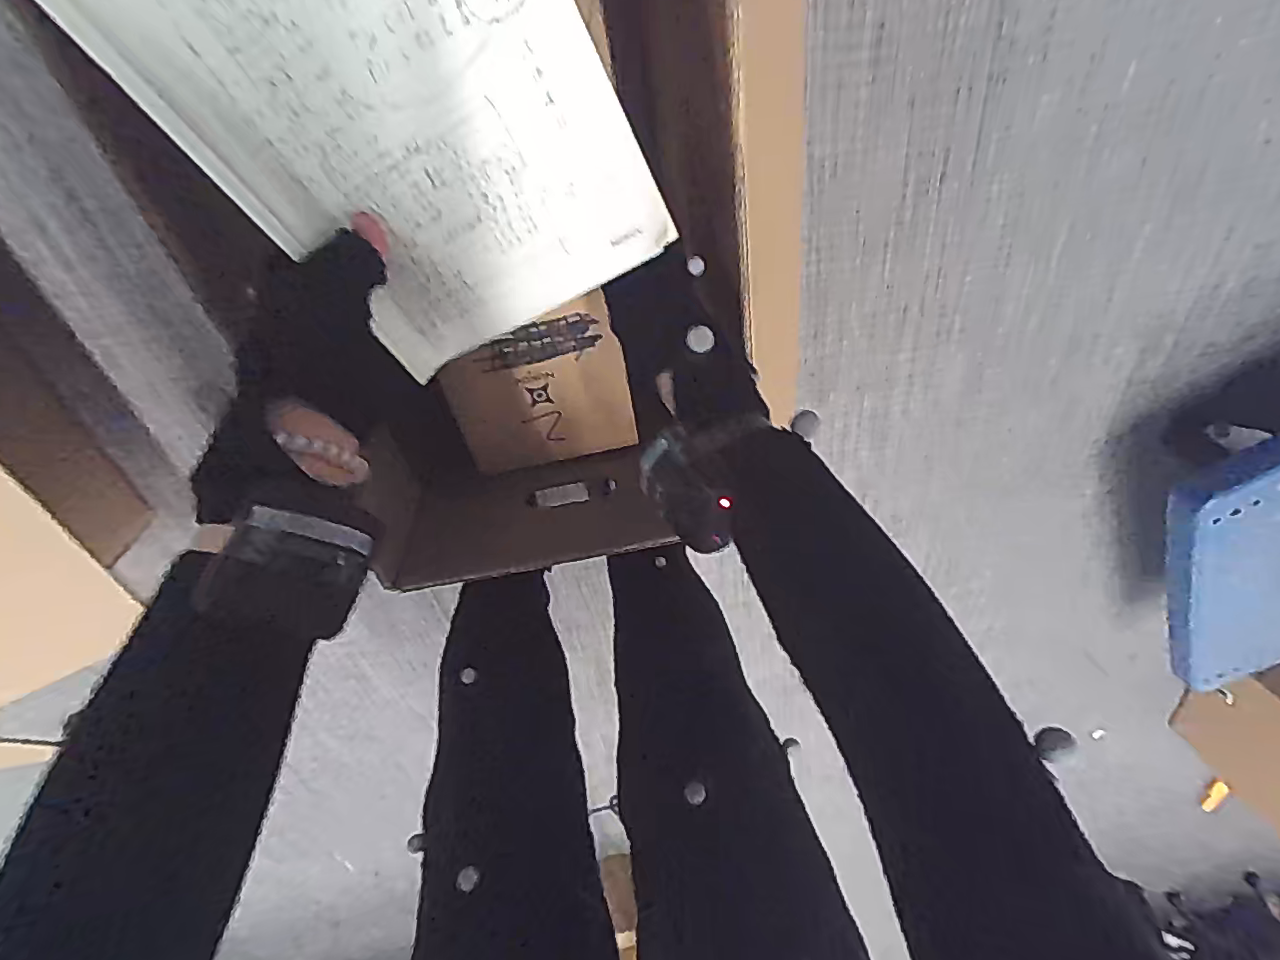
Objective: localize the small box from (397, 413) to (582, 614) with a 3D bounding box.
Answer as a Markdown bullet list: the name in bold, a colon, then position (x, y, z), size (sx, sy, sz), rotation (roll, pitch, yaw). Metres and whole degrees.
- **small box**: position (-0.197, 0.043, 0.710), size (0.179, 0.176, 0.168), rotation (21, 127, 1)
